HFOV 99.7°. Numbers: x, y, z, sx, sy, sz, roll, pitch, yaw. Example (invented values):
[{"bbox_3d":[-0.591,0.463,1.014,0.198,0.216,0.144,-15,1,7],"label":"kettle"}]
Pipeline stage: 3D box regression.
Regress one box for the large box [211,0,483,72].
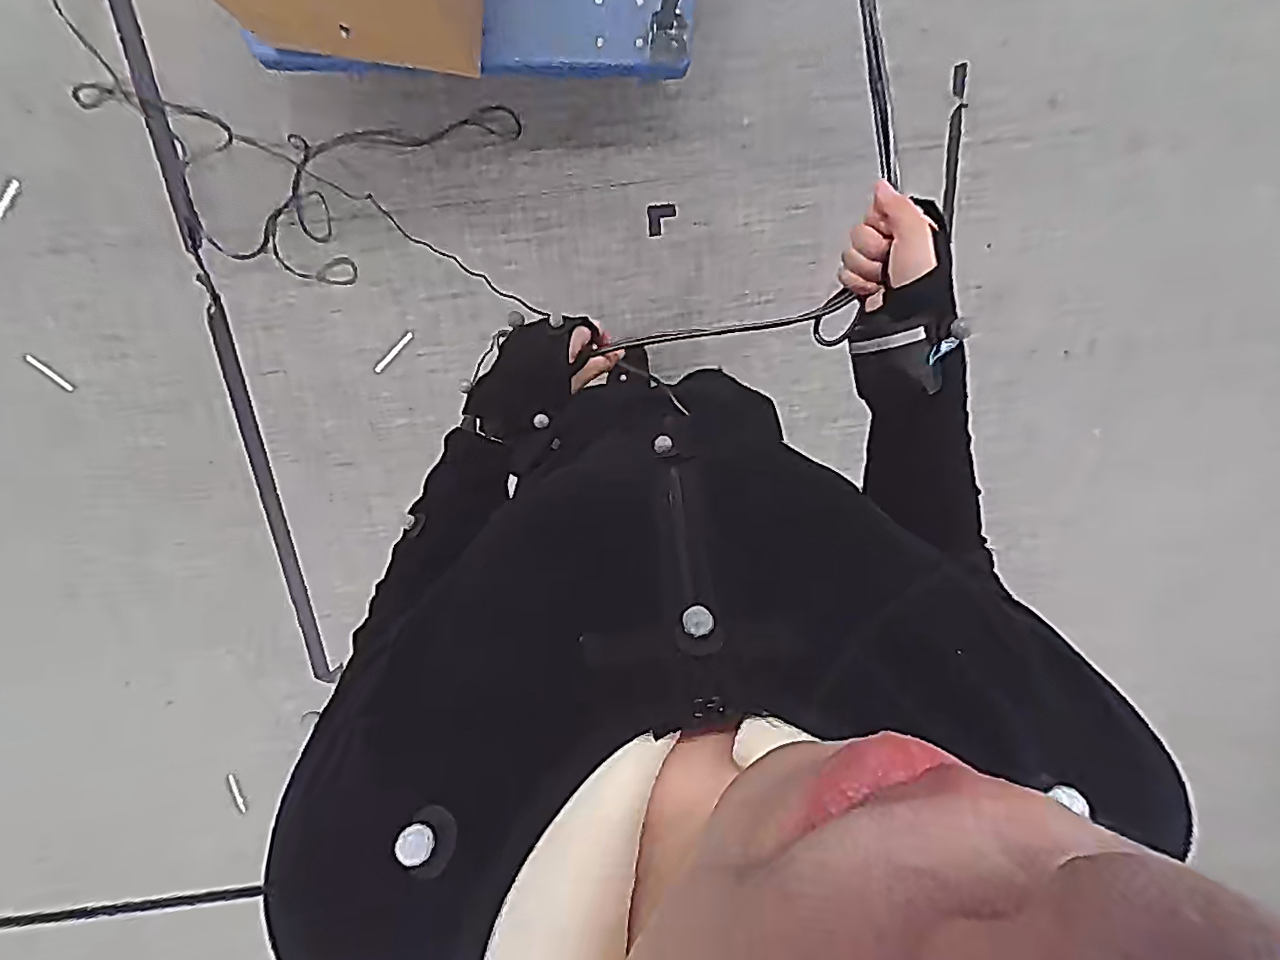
[{"bbox_3d":[-0.488,-0.914,0.868,0.408,0.320,0.320,4,106,-4],"label":"large box"}]
